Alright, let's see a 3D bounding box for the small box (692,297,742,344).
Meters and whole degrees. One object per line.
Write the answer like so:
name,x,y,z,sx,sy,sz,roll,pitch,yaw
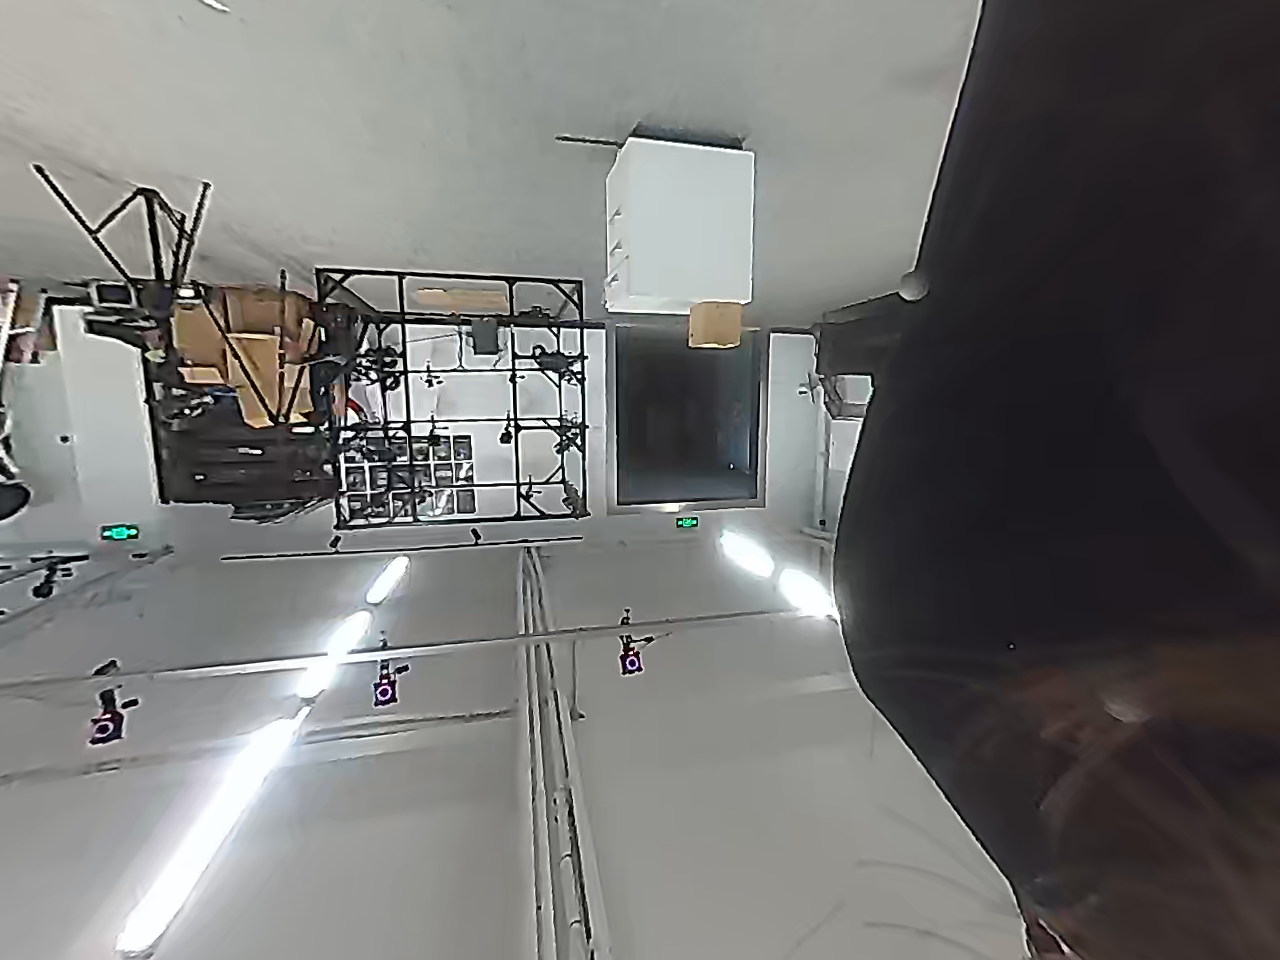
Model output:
small box,0.325,-0.668,2.277,0.168,0.176,0.179,-3,-170,-13
